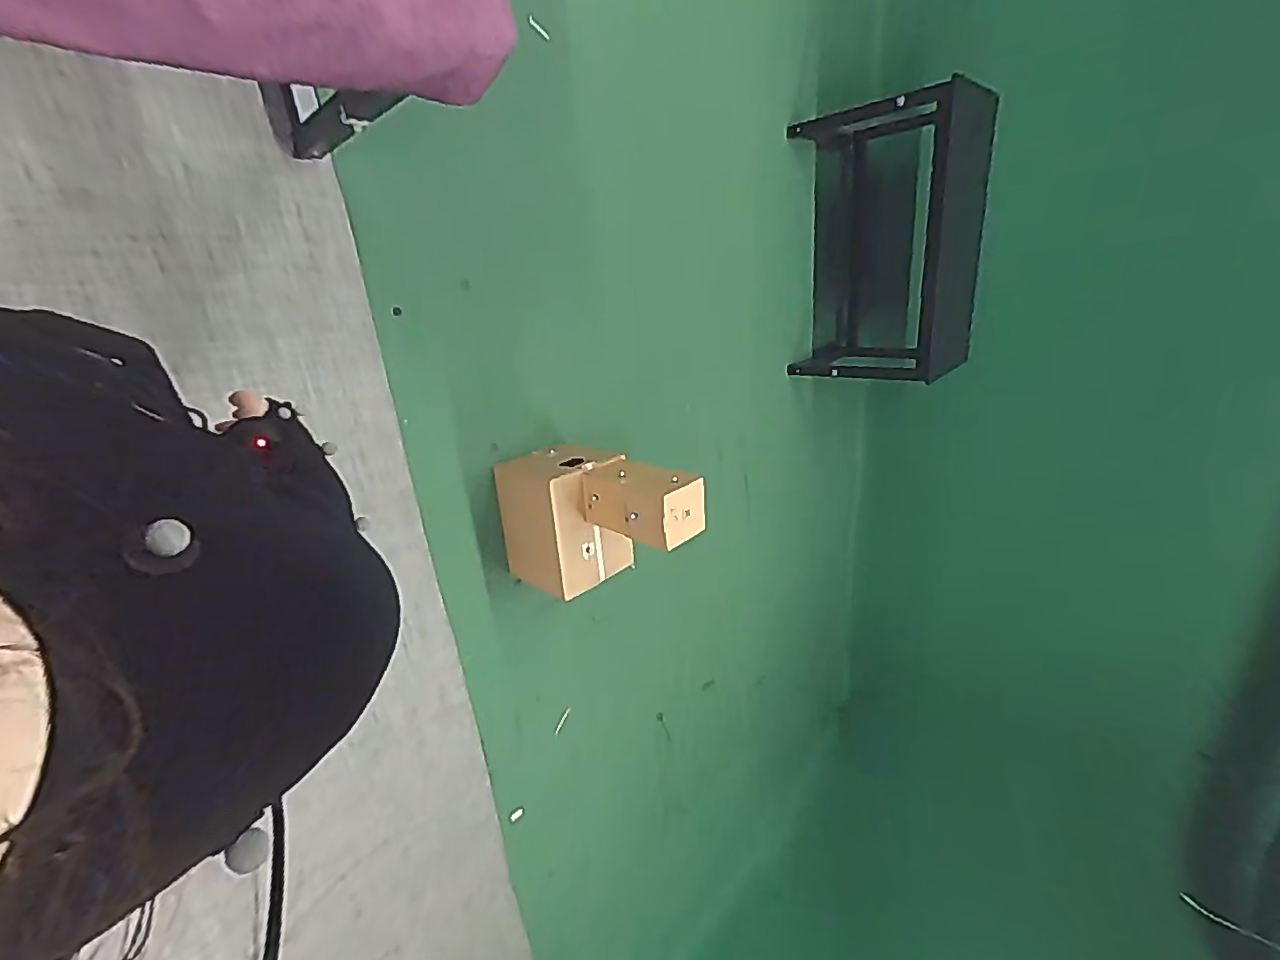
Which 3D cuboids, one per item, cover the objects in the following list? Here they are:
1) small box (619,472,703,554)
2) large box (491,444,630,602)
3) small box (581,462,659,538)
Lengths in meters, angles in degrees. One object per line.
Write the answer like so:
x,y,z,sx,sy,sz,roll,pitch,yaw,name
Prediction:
0.061,0.086,1.536,0.179,0.176,0.168,-23,117,-42,small box
-0.260,0.124,1.808,0.320,0.320,0.408,-22,116,-42,large box
-0.057,0.053,1.646,0.179,0.176,0.168,-22,116,-42,small box
